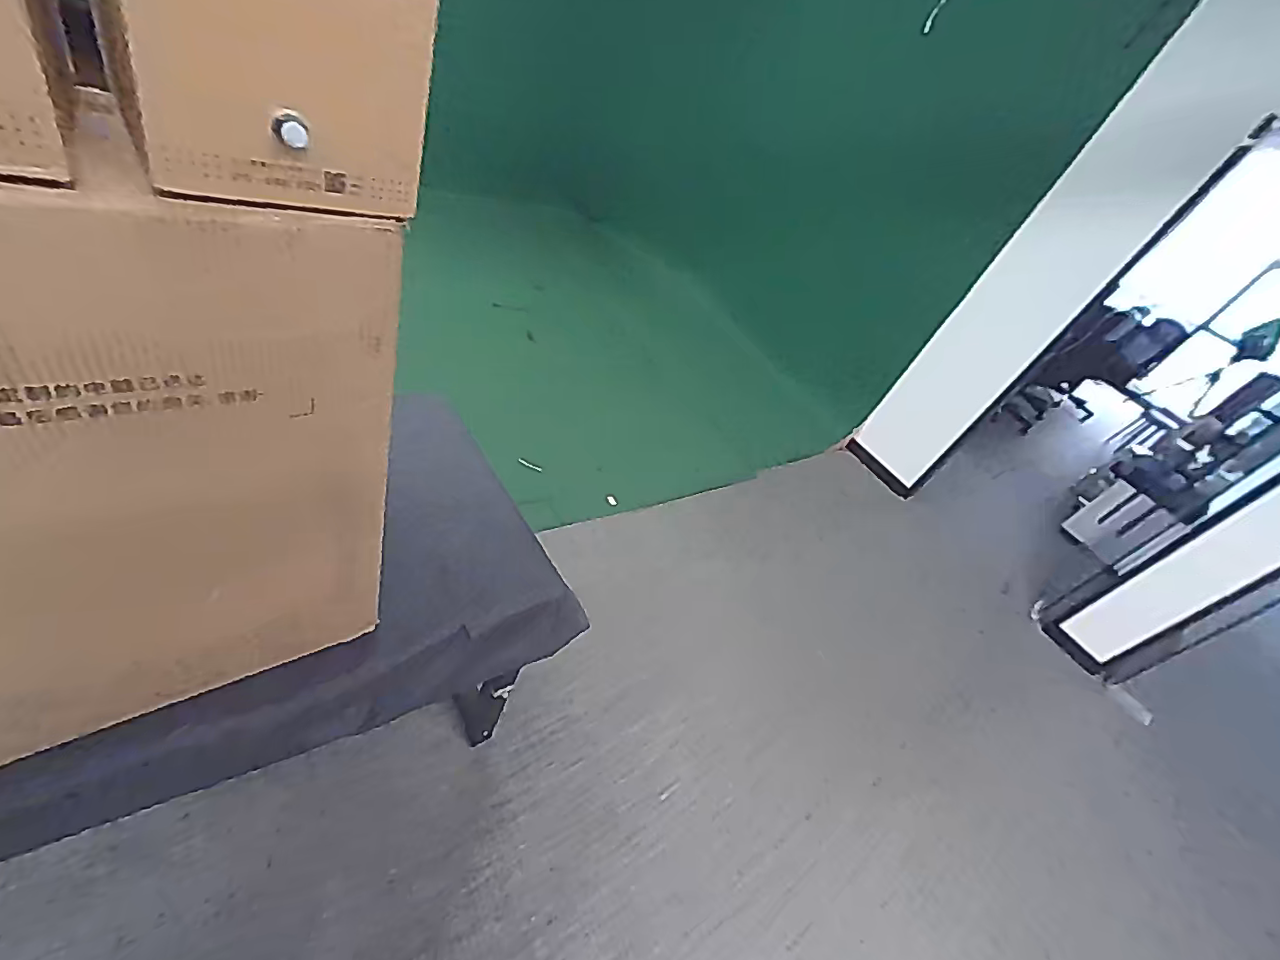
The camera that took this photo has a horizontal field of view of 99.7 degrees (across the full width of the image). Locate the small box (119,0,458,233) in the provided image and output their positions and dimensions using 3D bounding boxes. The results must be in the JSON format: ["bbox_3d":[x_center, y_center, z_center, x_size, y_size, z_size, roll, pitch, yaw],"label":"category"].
[{"bbox_3d":[-0.254,-0.305,0.385,0.168,0.176,0.179,-15,56,-40],"label":"small box"}]
